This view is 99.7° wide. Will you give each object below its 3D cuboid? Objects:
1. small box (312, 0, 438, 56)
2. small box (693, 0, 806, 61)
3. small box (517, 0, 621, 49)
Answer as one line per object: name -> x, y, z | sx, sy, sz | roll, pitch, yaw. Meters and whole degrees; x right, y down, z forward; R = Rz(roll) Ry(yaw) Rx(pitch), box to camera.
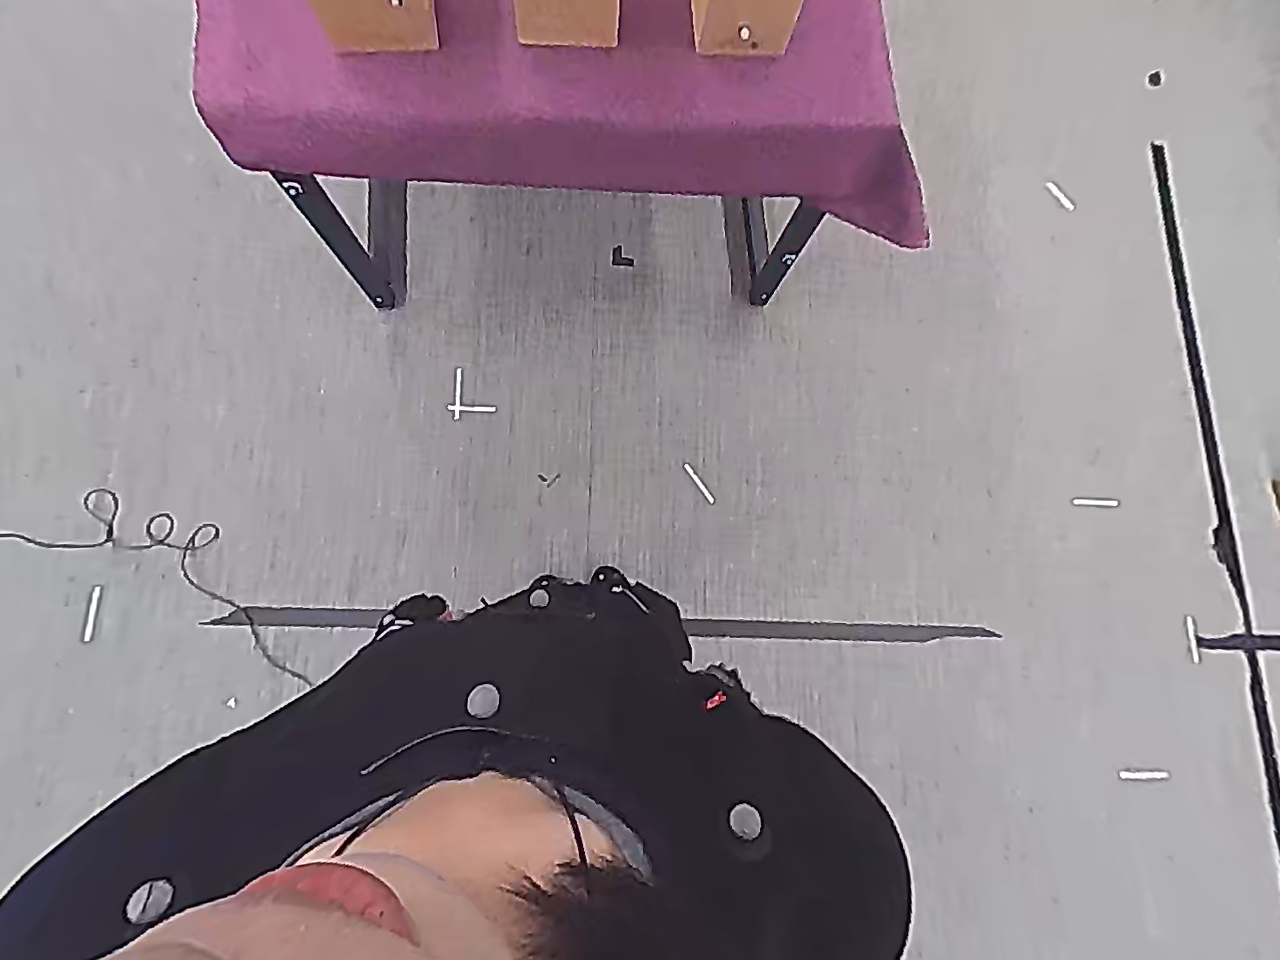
small box -> -0.432, -0.822, 0.863 | 0.179, 0.176, 0.168 | -8, 79, -6
small box -> 0.188, -0.875, 0.932 | 0.168, 0.176, 0.179 | -3, 81, -6
small box -> -0.121, -0.863, 0.900 | 0.179, 0.176, 0.168 | -3, 80, -5
